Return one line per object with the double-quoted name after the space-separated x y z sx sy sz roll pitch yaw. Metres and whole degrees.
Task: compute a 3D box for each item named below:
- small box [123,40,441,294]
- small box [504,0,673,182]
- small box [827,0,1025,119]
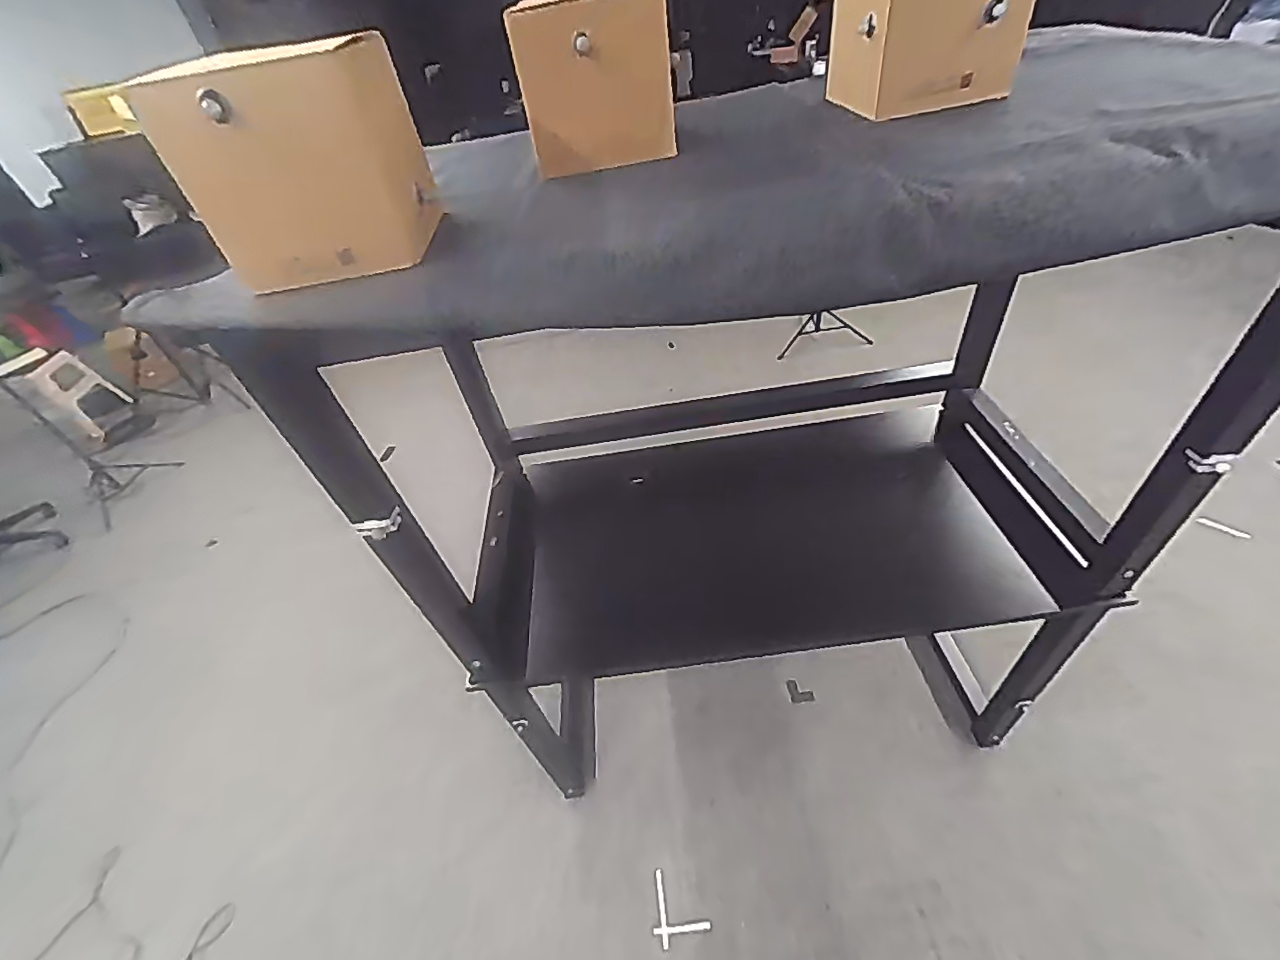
-0.310 -0.301 0.522 0.168 0.176 0.179 -10 43 1 "small box"
-0.053 -0.500 0.682 0.179 0.176 0.168 -8 44 4 "small box"
0.343 -0.561 0.661 0.168 0.176 0.179 -9 44 1 "small box"
